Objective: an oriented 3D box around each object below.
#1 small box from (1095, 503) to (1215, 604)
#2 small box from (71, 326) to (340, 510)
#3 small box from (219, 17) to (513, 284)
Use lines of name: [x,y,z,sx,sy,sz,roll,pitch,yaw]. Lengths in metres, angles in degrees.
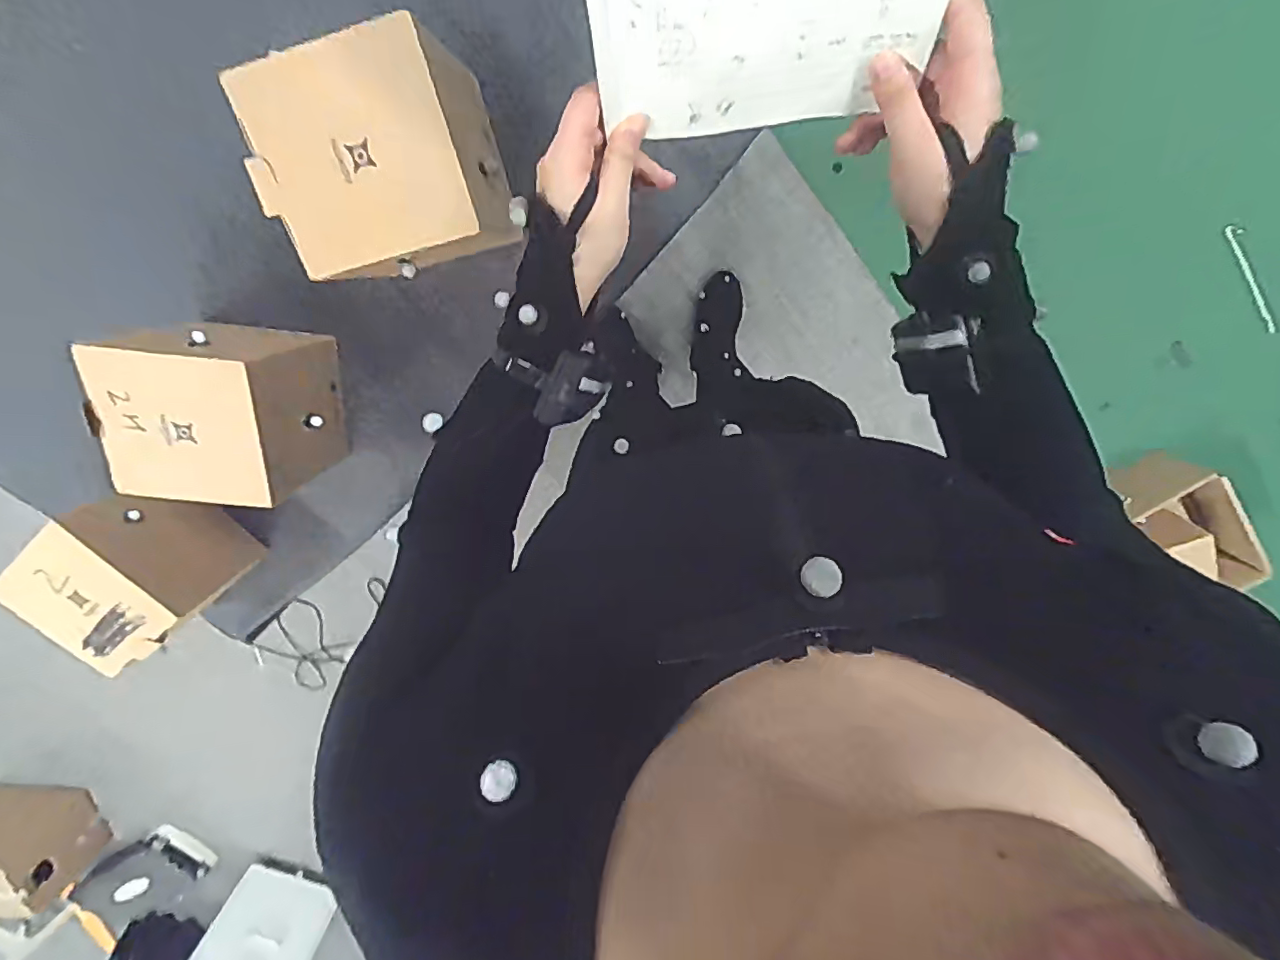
small box: [1.376,0.193,1.452,0.168,0.176,0.179,-24,112,12]
small box: [-0.480,-0.081,0.637,0.179,0.176,0.168,6,113,-1]
small box: [-0.239,-0.304,0.532,0.179,0.176,0.168,-12,113,8]
